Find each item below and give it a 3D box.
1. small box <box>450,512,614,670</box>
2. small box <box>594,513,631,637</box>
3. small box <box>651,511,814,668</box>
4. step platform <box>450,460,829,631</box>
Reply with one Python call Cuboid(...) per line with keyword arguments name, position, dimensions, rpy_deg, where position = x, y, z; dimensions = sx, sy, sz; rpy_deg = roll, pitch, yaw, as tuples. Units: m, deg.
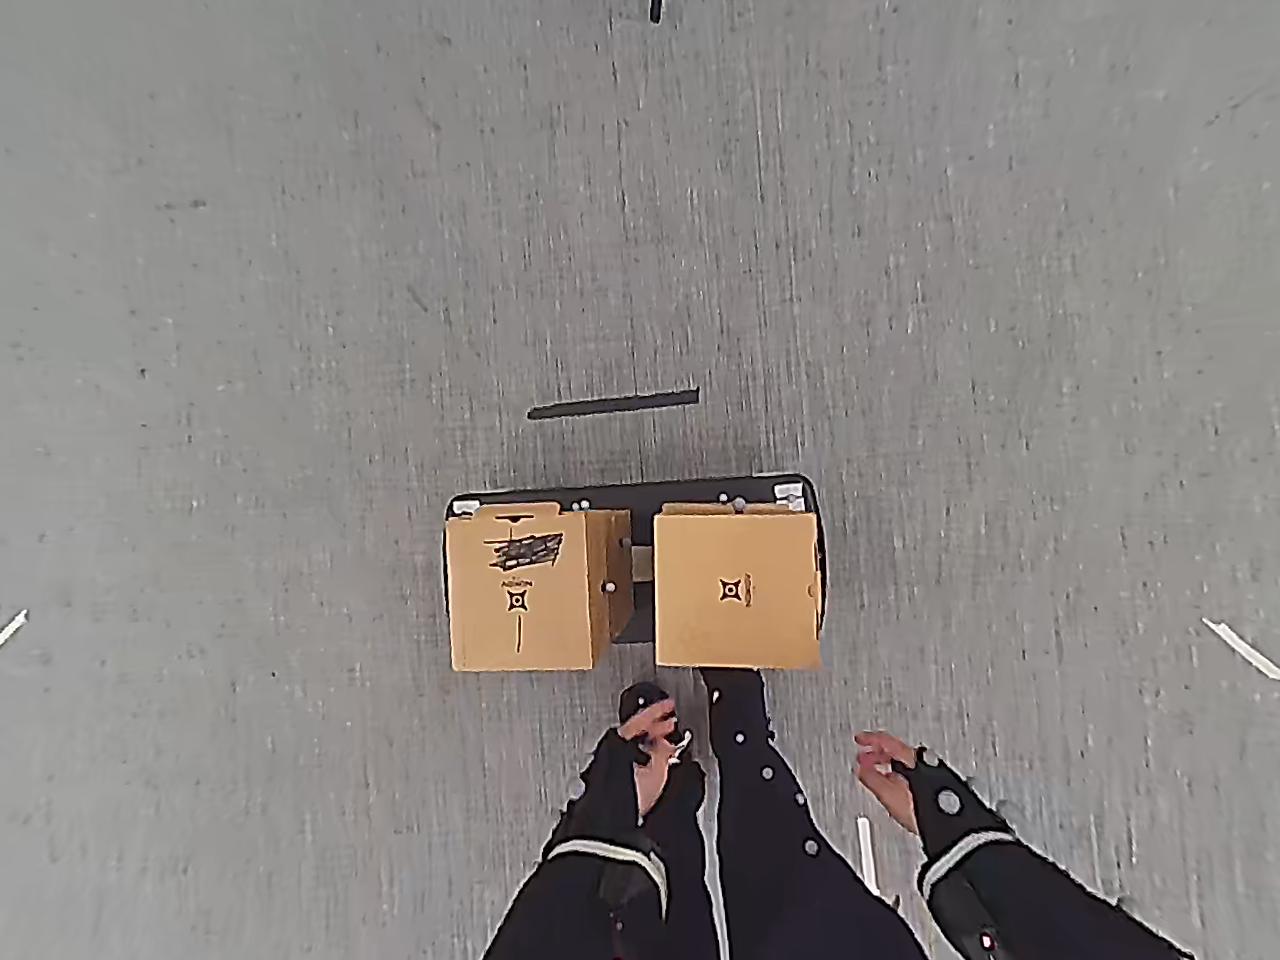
Cuboid(name="small box", position=(-0.128, 0.131, 0.692), dimensions=(0.168, 0.176, 0.179), rpy_deg=(-3, 87, 6))
Cuboid(name="small box", position=(-0.107, 0.142, 0.854), dimensions=(0.168, 0.176, 0.179), rpy_deg=(-2, 87, 7))
Cuboid(name="small box", position=(0.109, 0.123, 0.666), dimensions=(0.179, 0.176, 0.168), rpy_deg=(-1, 88, 6))
Cuboid(name="step platform", position=(-0.005, 0.126, 1.018), dimensions=(0.684, 0.204, 0.286), rpy_deg=(-4, 87, 7))
